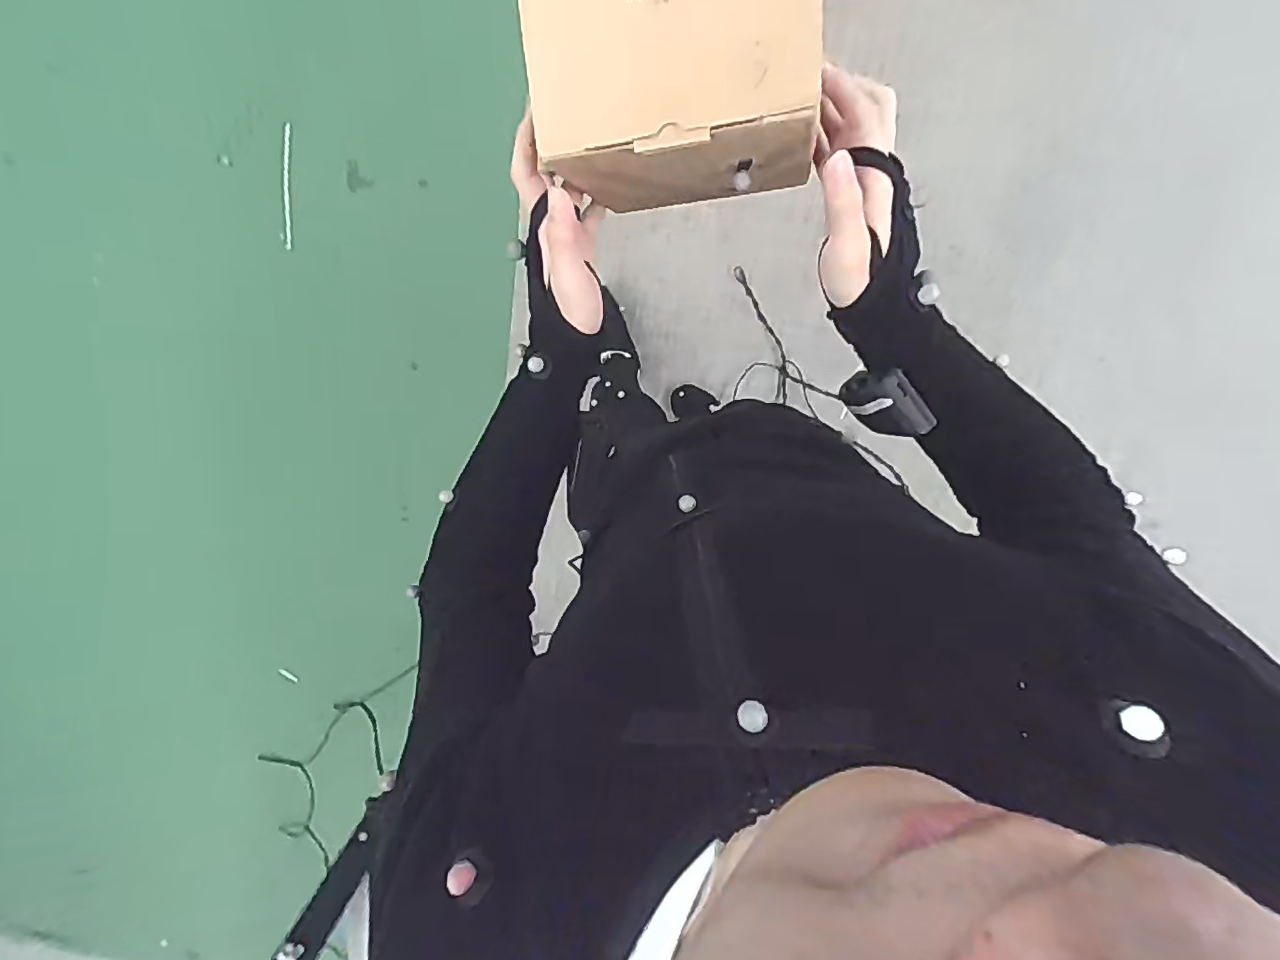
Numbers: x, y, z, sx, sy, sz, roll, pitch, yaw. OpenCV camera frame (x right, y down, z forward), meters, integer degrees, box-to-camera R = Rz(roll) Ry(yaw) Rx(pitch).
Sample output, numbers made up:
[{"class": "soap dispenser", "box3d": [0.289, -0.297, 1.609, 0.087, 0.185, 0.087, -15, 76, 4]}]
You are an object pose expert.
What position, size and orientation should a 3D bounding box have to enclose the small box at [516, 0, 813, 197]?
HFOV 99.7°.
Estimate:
[{"class": "small box", "box3d": [0.028, -0.304, 0.359, 0.168, 0.176, 0.179, 0, 104, 15]}]
